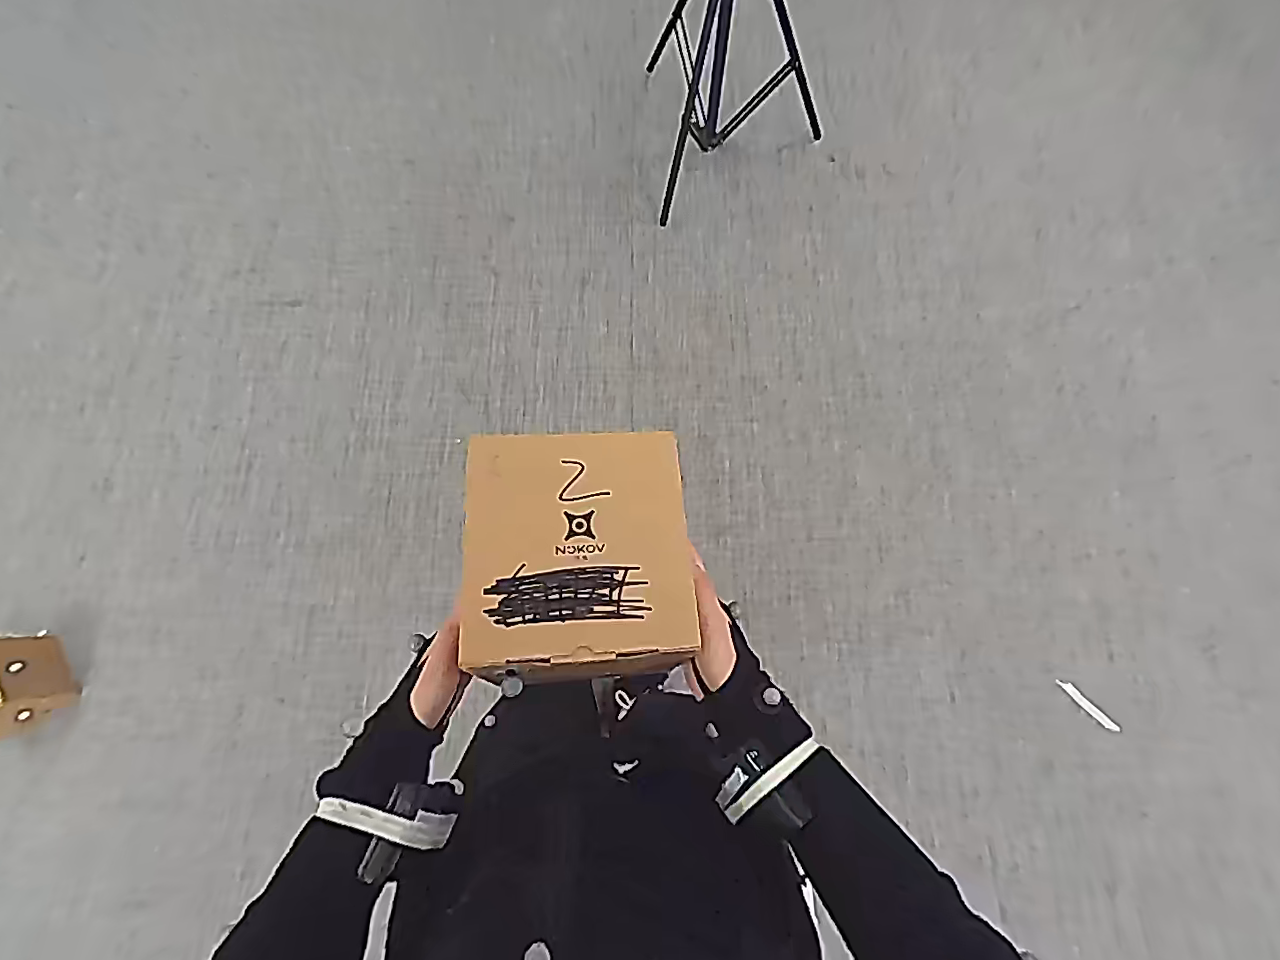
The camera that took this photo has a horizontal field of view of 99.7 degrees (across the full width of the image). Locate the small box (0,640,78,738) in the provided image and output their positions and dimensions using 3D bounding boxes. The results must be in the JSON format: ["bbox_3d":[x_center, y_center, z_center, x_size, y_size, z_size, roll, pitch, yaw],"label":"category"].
[{"bbox_3d":[-1.479,0.486,1.251,0.168,0.176,0.179,-37,77,-9],"label":"small box"}]
